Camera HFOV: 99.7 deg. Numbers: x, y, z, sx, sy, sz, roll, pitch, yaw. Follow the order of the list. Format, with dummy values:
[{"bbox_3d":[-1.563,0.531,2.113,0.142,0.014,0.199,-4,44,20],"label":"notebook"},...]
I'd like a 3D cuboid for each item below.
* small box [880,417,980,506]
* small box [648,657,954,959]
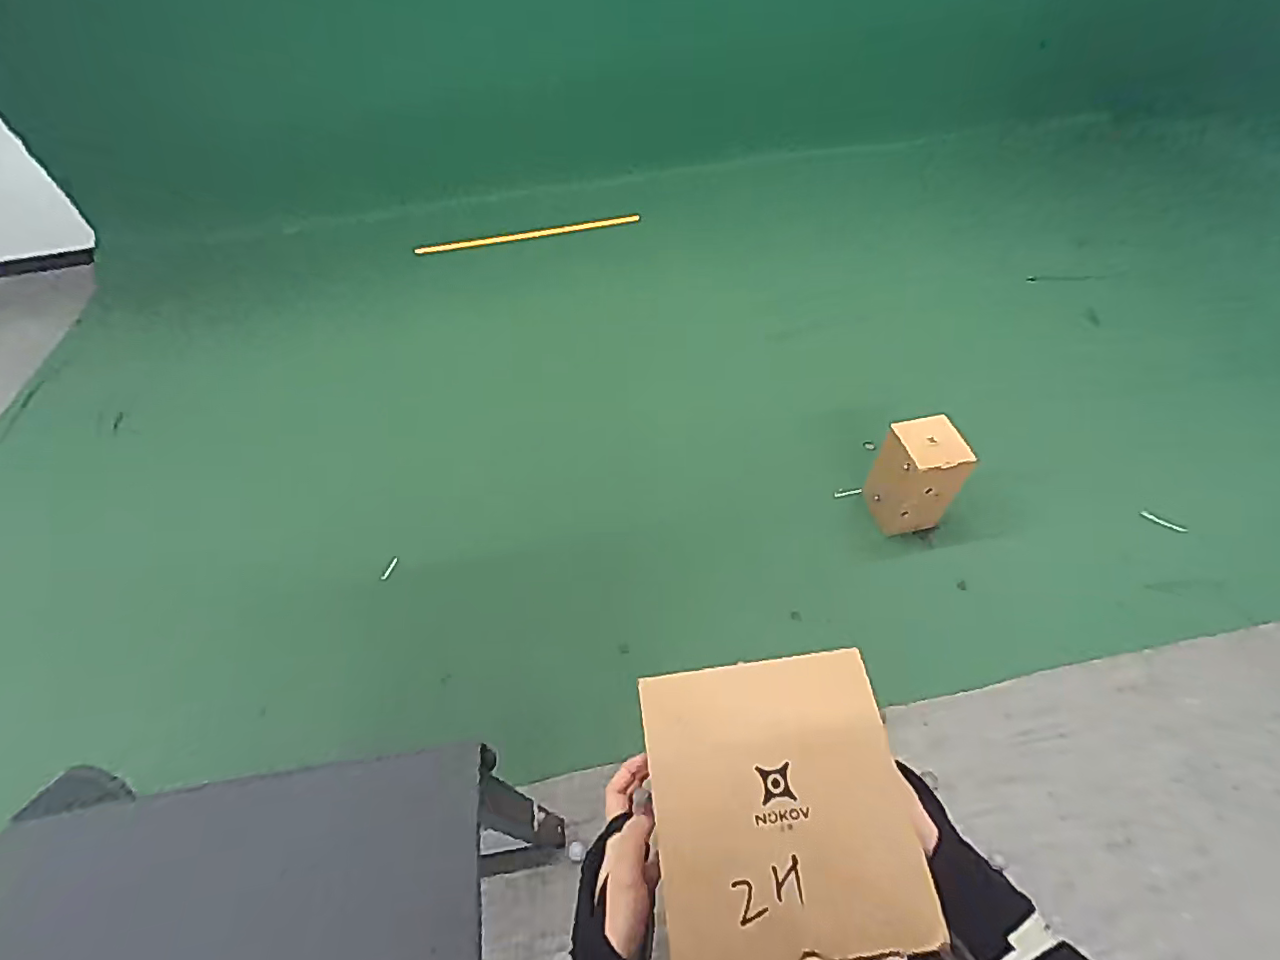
[{"bbox_3d":[0.815,-0.051,1.542,0.168,0.176,0.179,-11,52,-3],"label":"small box"},{"bbox_3d":[0.101,0.257,0.428,0.168,0.176,0.179,-9,60,2],"label":"small box"}]
